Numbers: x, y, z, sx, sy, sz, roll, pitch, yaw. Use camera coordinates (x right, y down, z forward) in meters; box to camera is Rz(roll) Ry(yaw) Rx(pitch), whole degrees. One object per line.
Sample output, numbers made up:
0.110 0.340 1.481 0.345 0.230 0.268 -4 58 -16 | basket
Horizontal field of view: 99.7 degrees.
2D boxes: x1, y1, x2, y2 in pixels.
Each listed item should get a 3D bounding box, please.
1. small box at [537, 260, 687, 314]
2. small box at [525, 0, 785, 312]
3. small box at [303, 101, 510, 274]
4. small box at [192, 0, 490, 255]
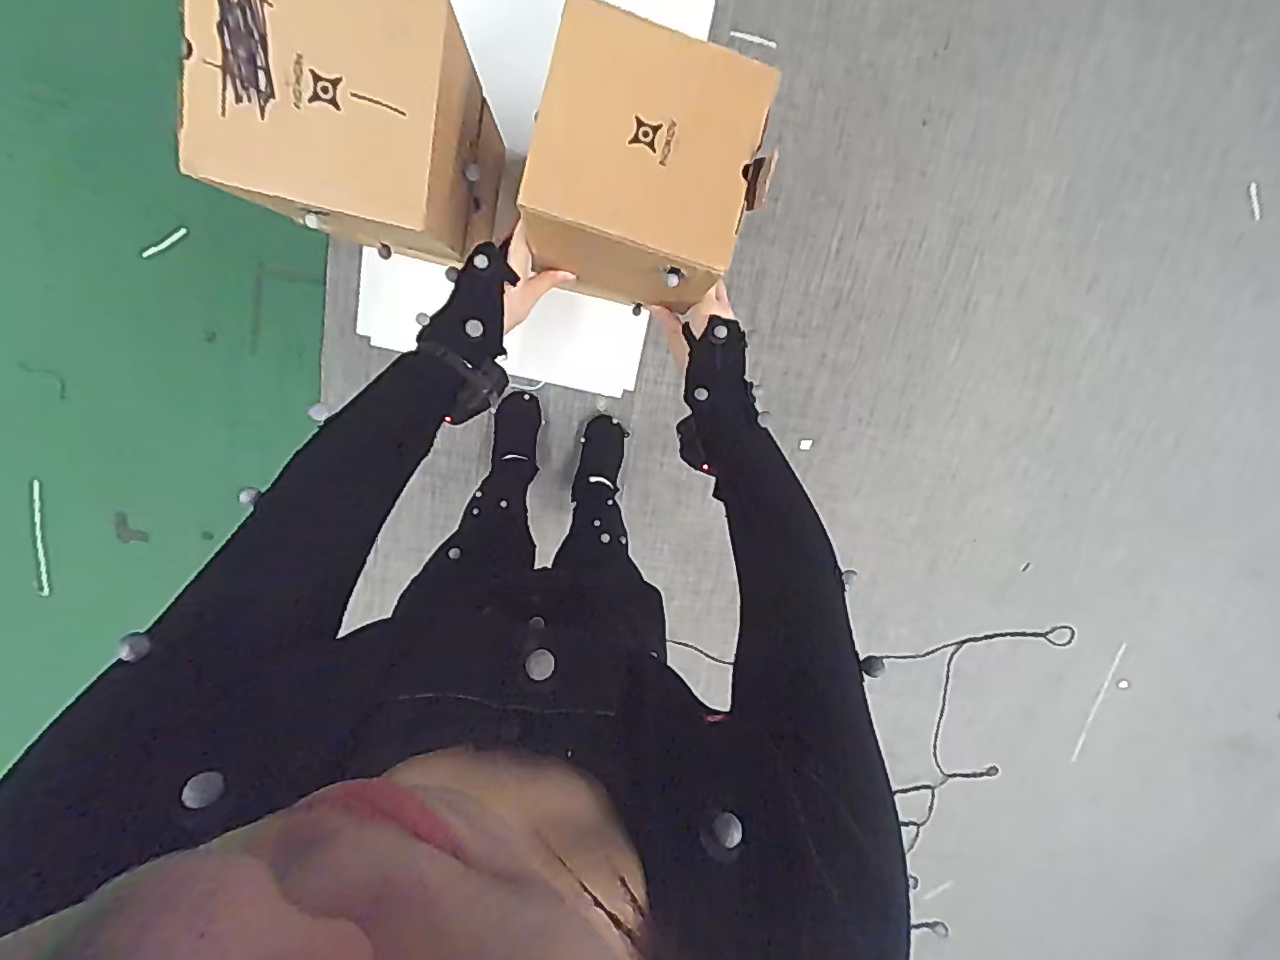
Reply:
-0.020 -0.307 0.672 0.179 0.176 0.168 11 103 -7 | small box
0.003 -0.271 0.502 0.179 0.176 0.168 14 93 -9 | small box
-0.260 -0.348 0.634 0.179 0.176 0.168 11 105 -10 | small box
-0.241 -0.307 0.474 0.179 0.176 0.168 10 105 -11 | small box
